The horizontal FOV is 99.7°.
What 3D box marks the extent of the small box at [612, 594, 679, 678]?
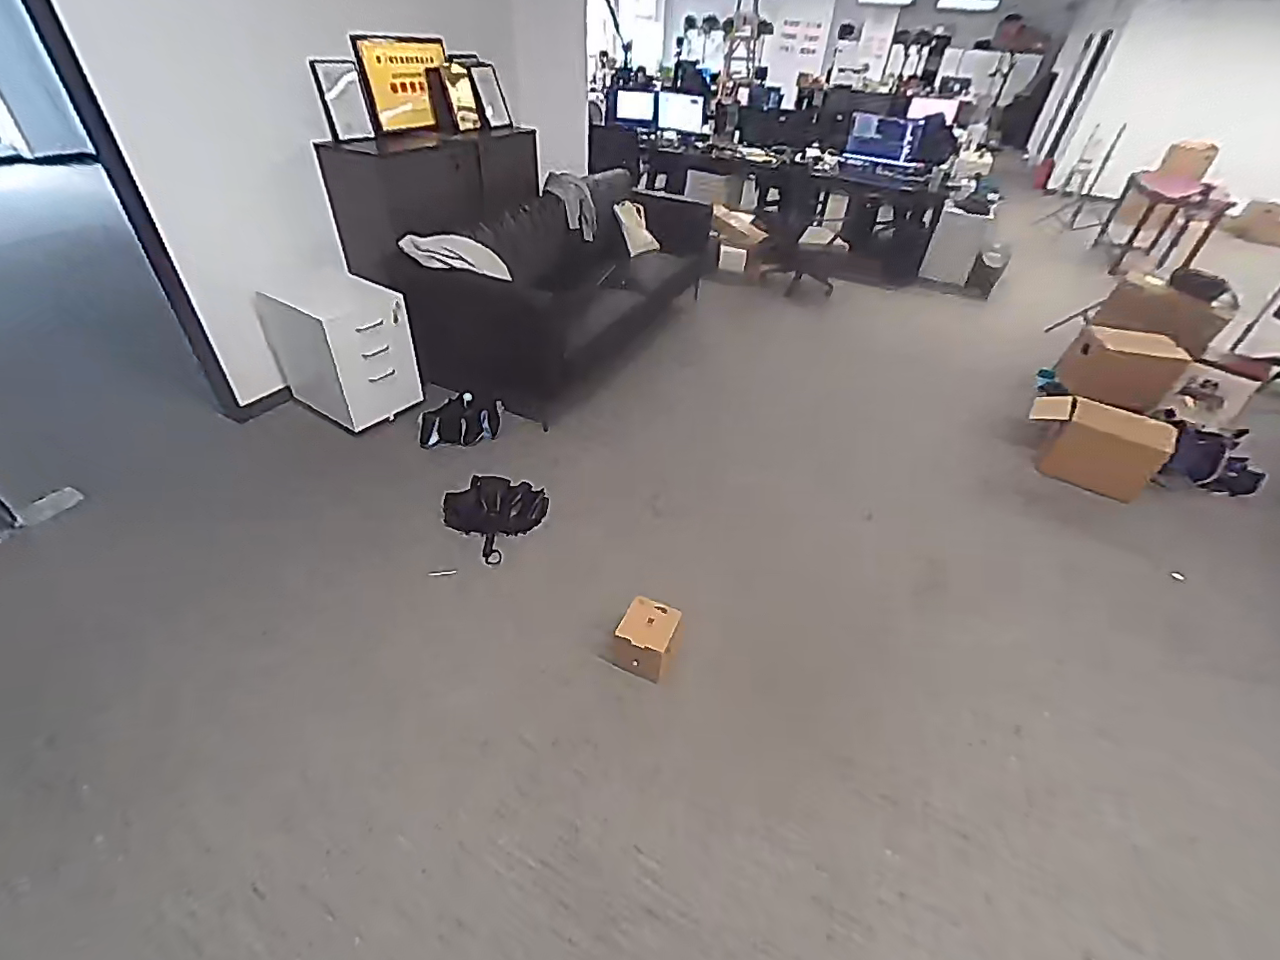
[{"bbox_3d":[0.018,0.512,1.763,0.168,0.176,0.179,18,42,16],"label":"small box"}]
